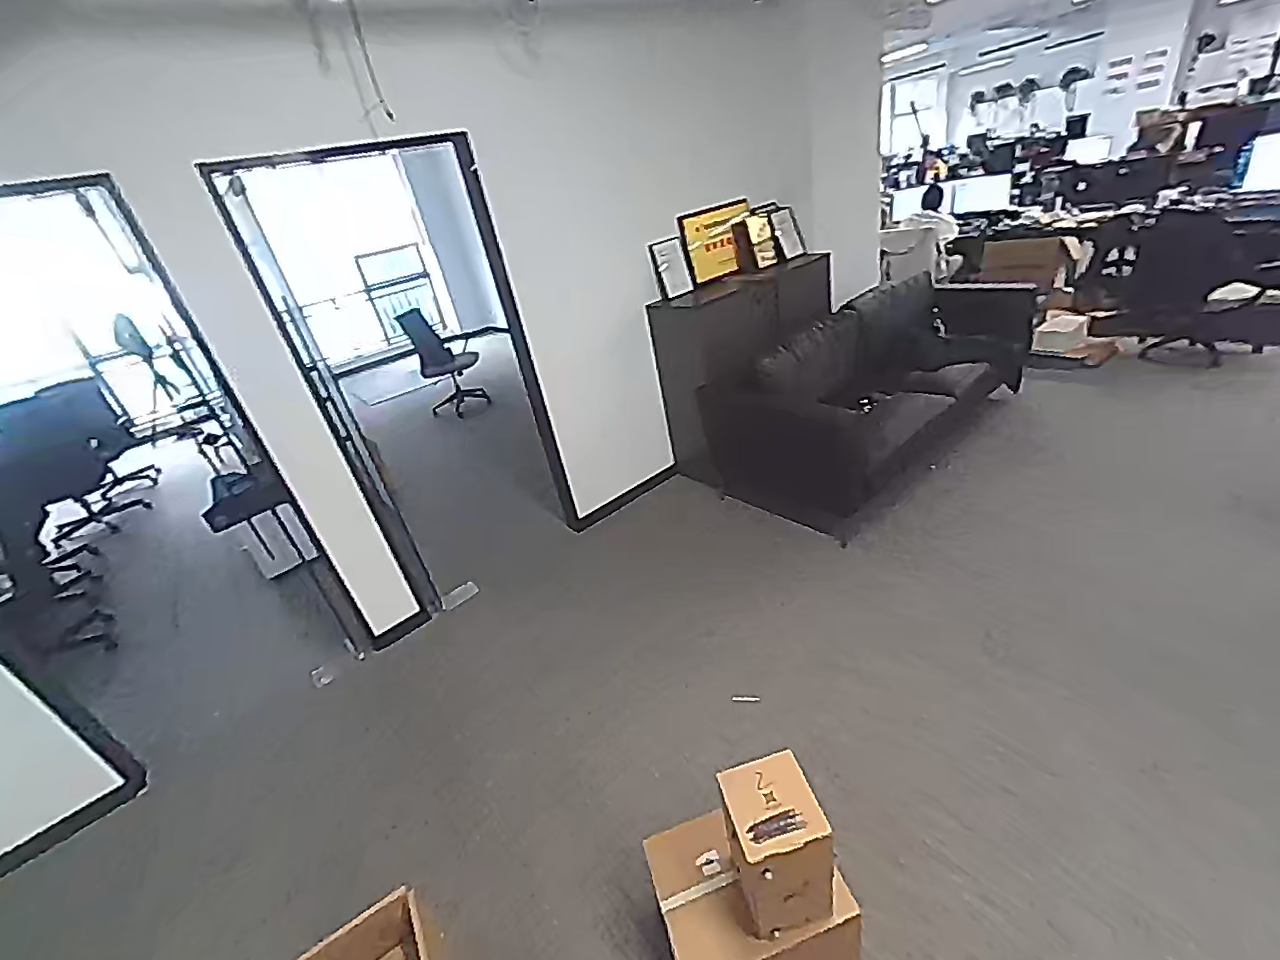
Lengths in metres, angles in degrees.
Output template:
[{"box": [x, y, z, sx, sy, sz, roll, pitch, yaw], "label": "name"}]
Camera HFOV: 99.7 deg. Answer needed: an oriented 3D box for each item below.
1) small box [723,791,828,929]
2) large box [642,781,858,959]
[{"box": [0.291, 0.819, 1.162, 0.168, 0.176, 0.179, -15, 30, -6], "label": "small box"}, {"box": [0.262, 1.029, 1.309, 0.408, 0.320, 0.320, -18, 29, -9], "label": "large box"}]
